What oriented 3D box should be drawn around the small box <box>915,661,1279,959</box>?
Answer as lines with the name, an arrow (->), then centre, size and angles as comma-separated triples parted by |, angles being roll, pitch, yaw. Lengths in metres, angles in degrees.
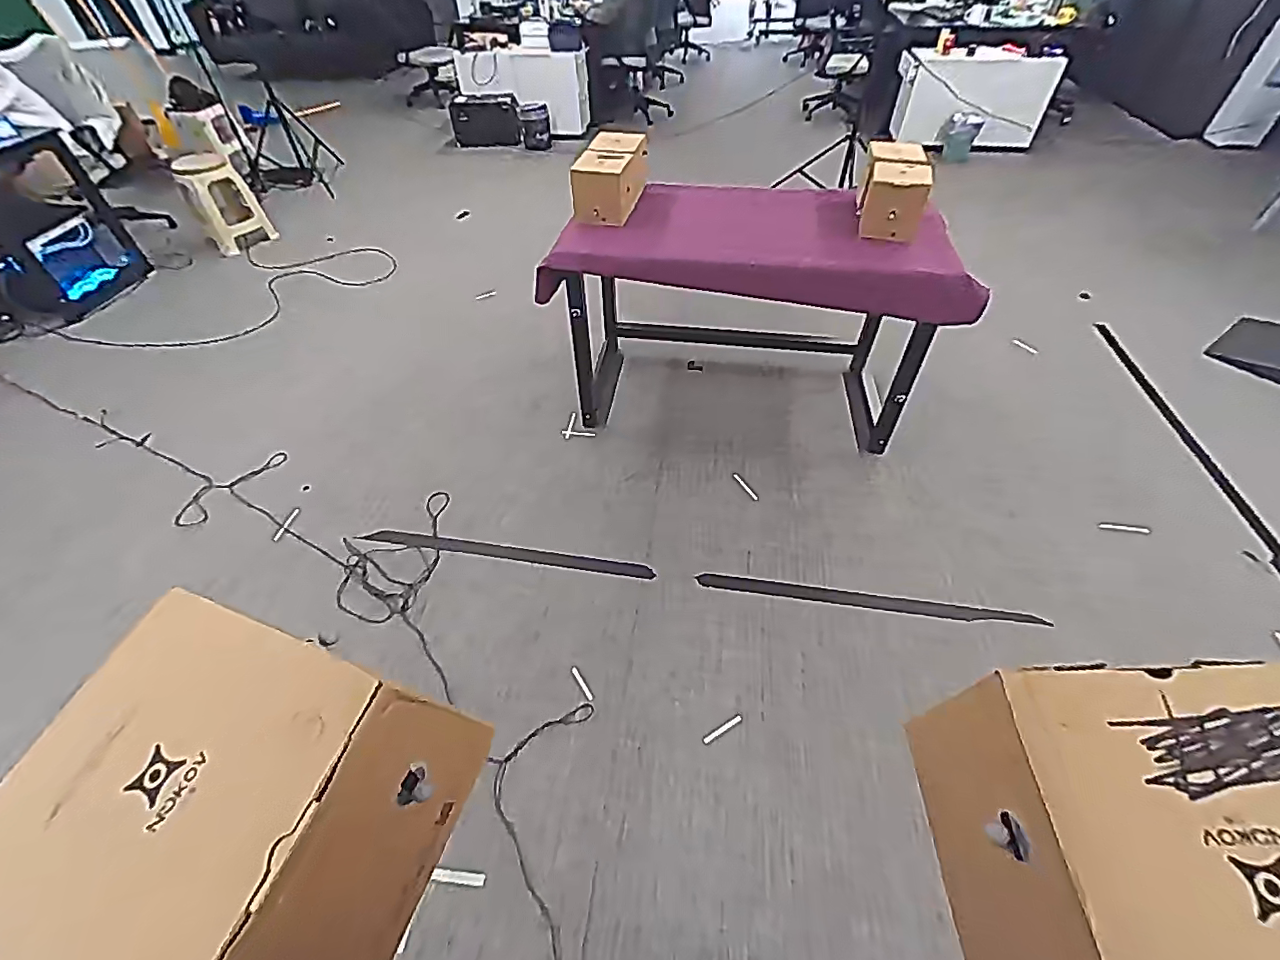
small box -> 0.285, 0.217, 0.311 | 0.168, 0.176, 0.179 | -4, 56, 5

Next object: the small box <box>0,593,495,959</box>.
small box -> -0.222, 0.198, 0.343 | 0.179, 0.176, 0.168 | 13, 60, 19

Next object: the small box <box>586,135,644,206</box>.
small box -> -0.084, -1.095, 1.915 | 0.168, 0.176, 0.179 | 9, 49, 9

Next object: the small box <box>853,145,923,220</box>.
small box -> 0.824, -0.997, 1.811 | 0.168, 0.176, 0.179 | 9, 48, 9
